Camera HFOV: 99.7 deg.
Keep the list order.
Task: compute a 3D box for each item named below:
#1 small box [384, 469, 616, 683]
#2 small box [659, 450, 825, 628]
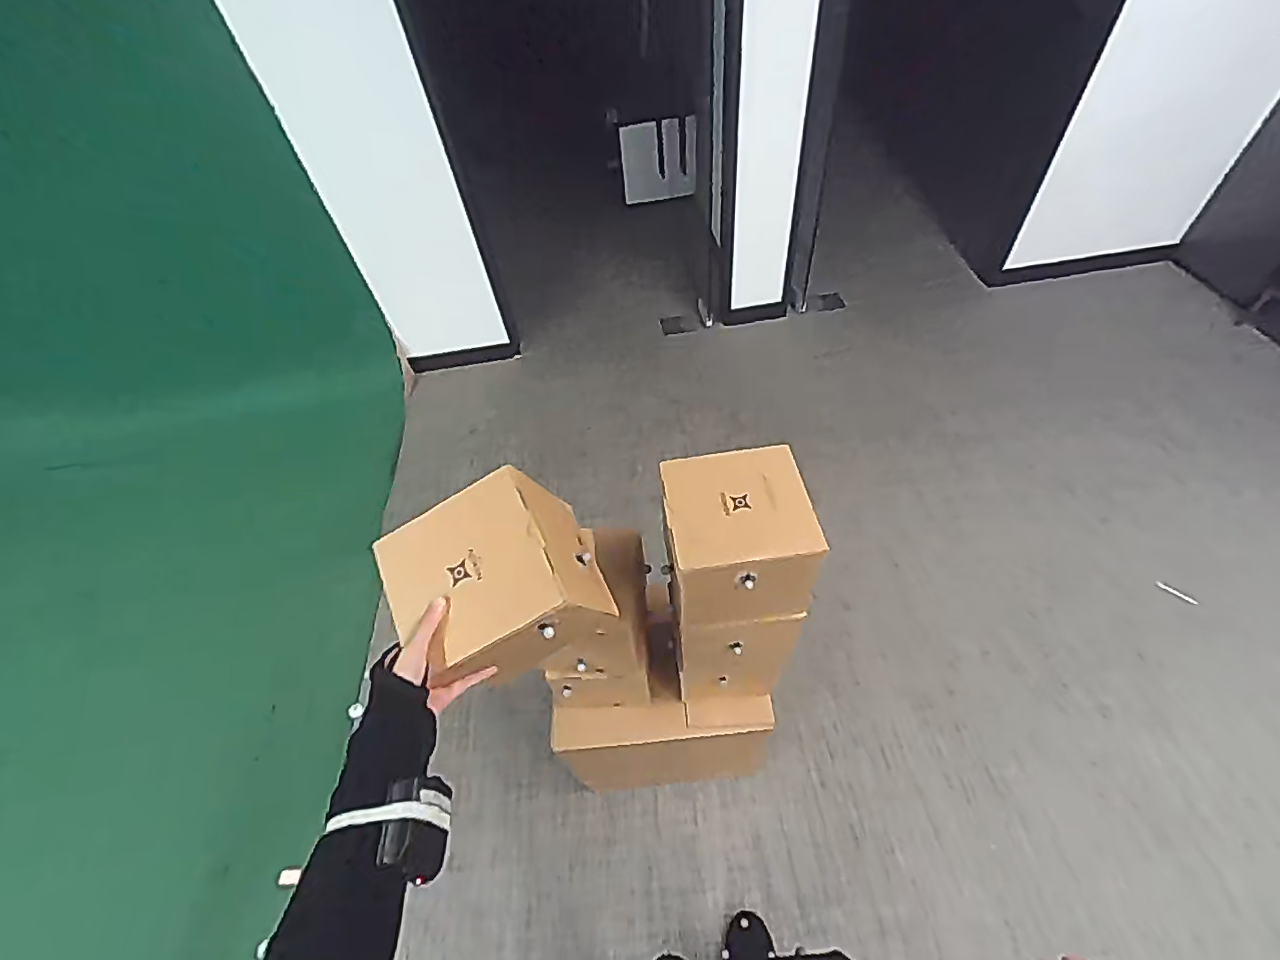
[{"bbox_3d":[-0.153,0.121,0.624,0.179,0.176,0.168,-29,65,4],"label":"small box"},{"bbox_3d":[0.125,0.084,0.722,0.179,0.176,0.168,-7,51,0],"label":"small box"}]
